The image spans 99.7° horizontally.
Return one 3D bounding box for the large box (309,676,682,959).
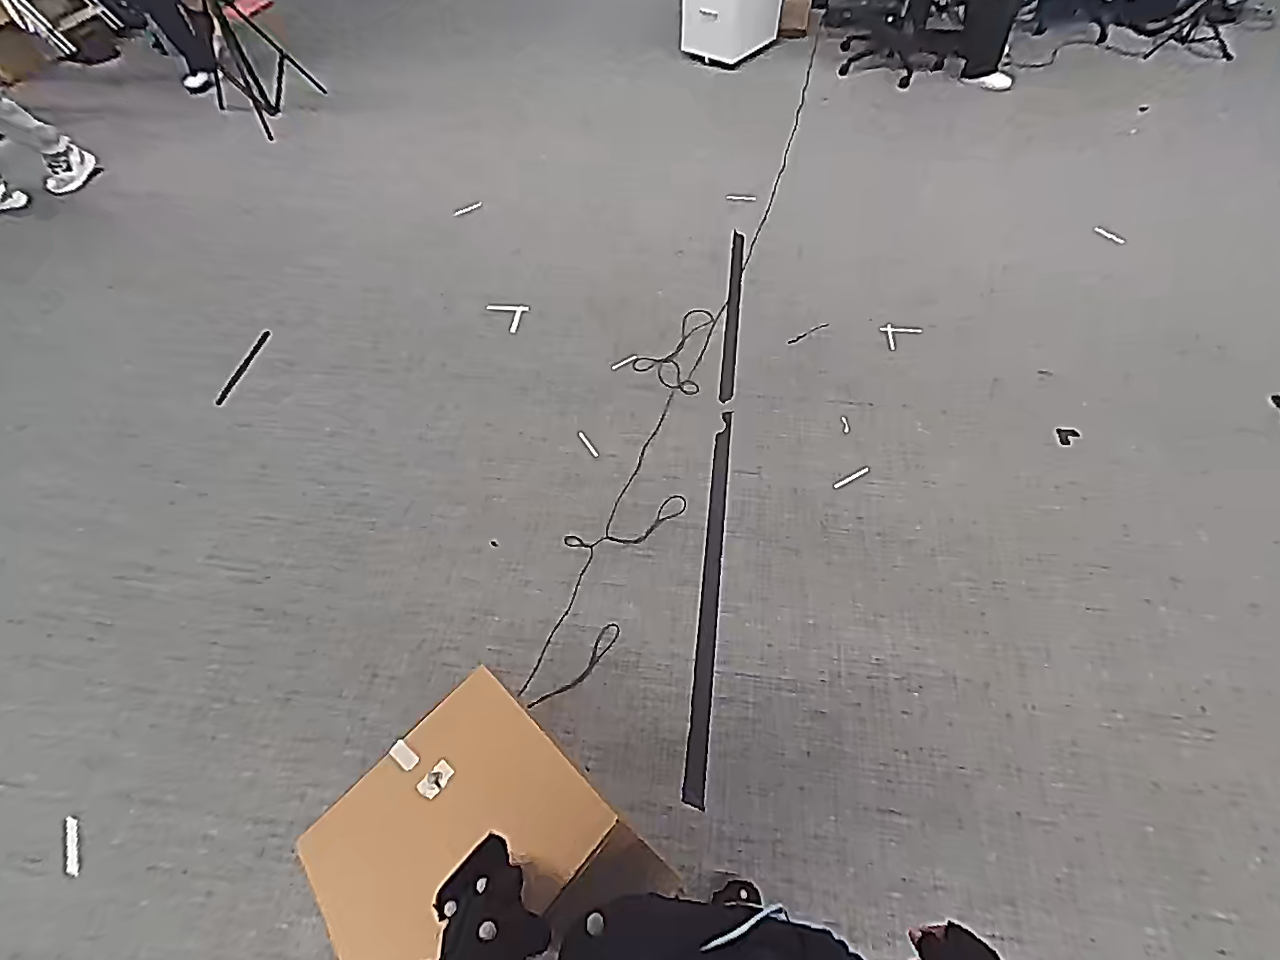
[{"bbox_3d":[-0.185,0.571,0.805,0.320,0.408,0.320,-42,48,-21],"label":"large box"}]
